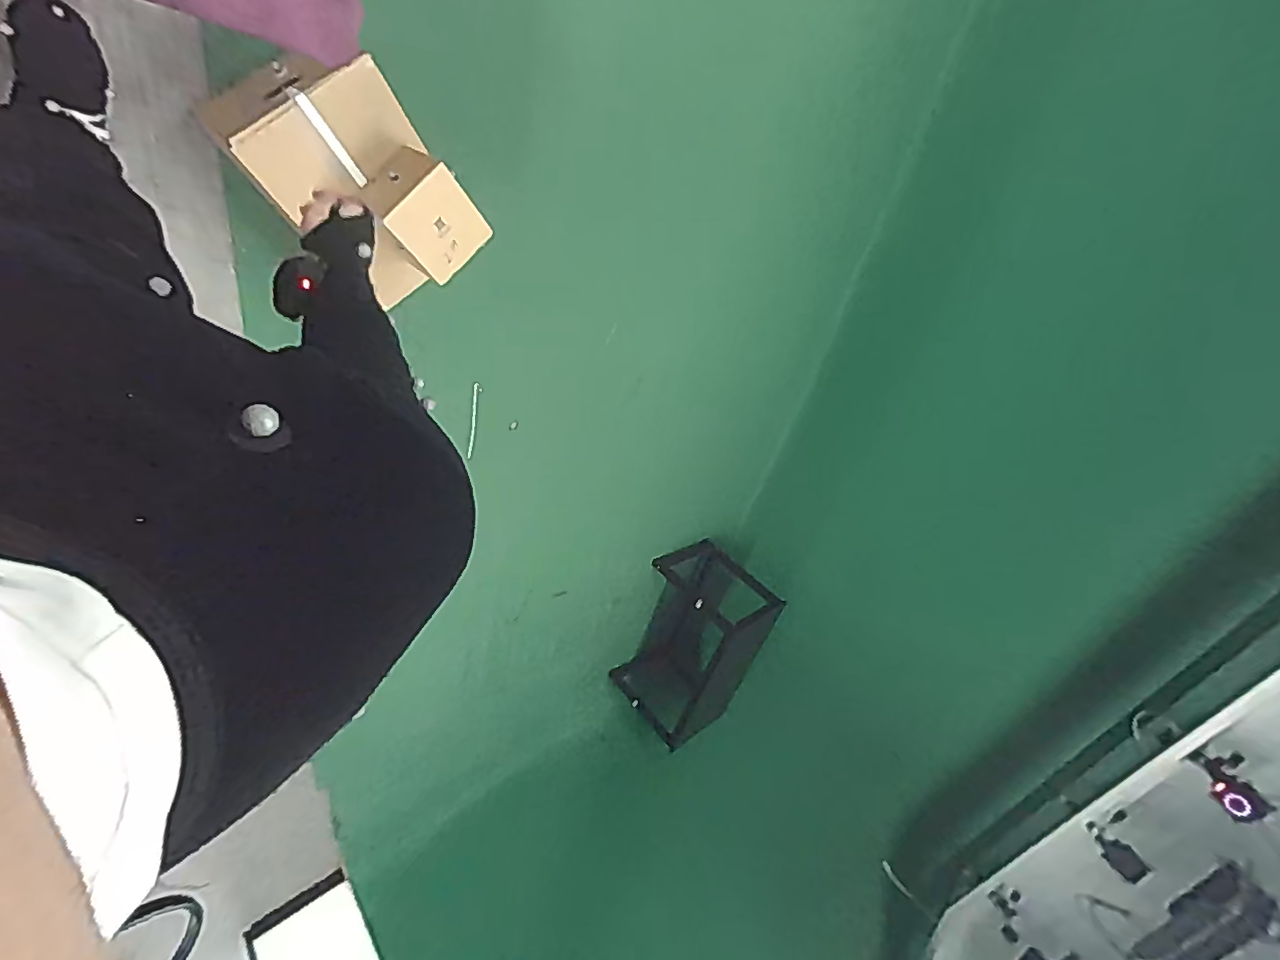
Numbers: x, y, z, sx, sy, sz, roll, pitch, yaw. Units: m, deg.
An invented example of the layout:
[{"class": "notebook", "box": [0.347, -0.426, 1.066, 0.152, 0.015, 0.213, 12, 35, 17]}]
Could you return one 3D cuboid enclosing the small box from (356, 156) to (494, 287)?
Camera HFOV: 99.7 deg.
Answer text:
[{"class": "small box", "box": [-0.451, -0.546, 1.133, 0.168, 0.176, 0.179, -48, 148, -5]}]
